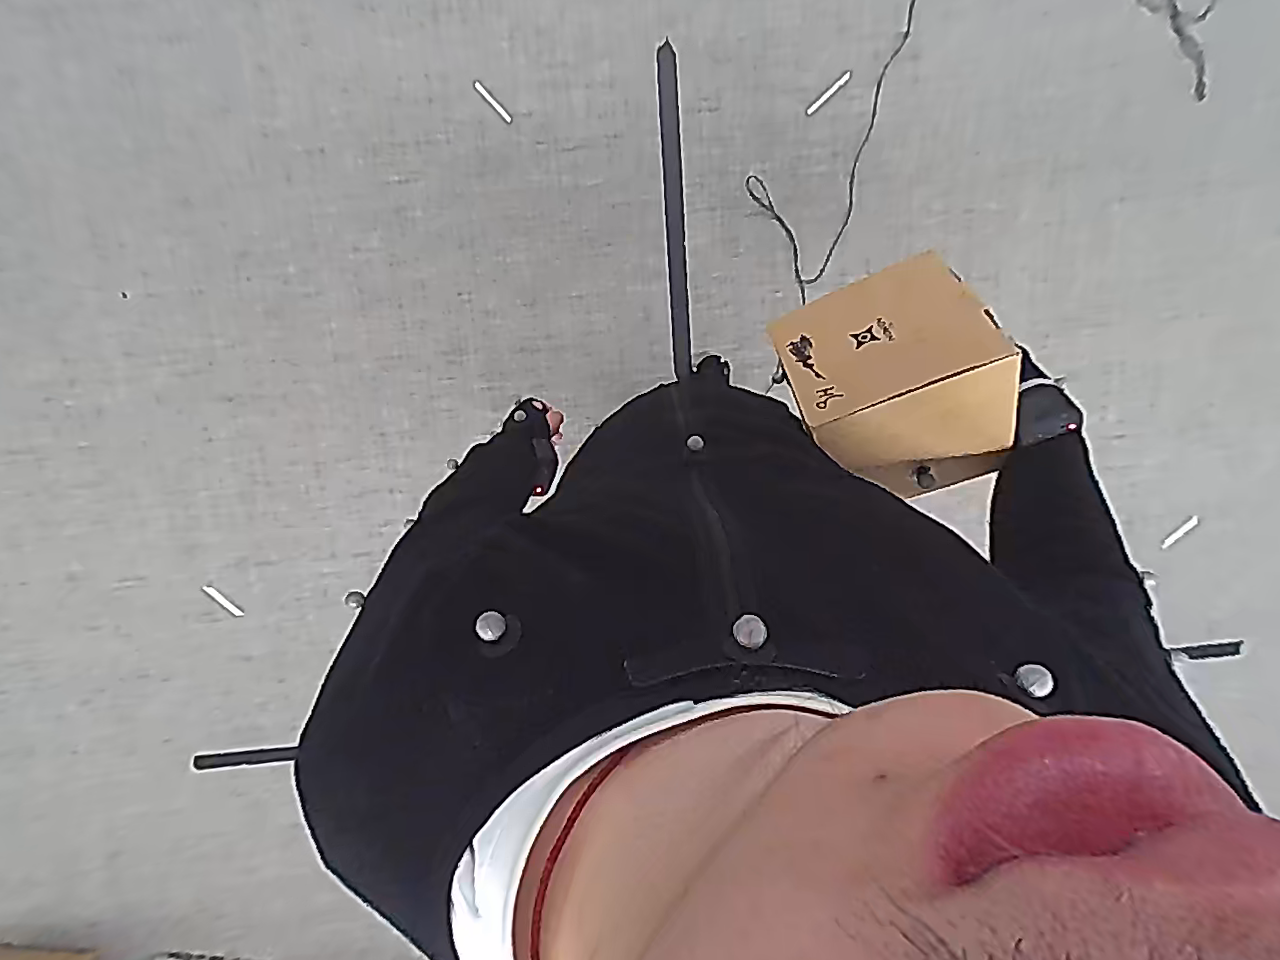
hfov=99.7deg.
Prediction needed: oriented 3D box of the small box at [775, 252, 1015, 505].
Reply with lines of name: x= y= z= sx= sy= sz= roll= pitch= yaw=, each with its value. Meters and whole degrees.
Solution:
small box: x=0.266 y=-0.100 z=0.586 sx=0.179 sy=0.168 sz=0.176 roll=-21 pitch=138 yaw=17
